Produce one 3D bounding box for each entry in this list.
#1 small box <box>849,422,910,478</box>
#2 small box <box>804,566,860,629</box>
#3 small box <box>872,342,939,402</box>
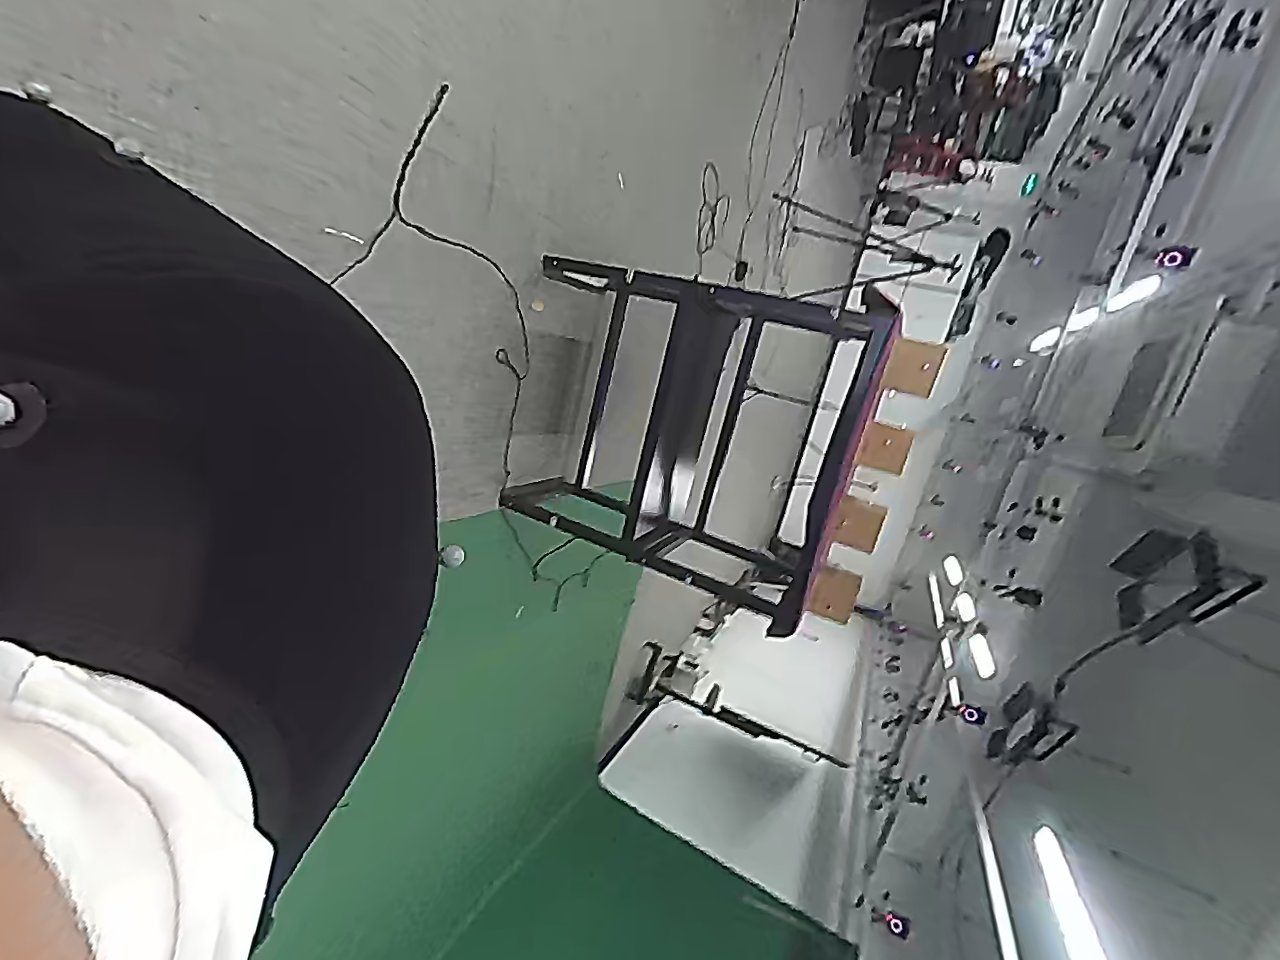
[{"bbox_3d":[0.865,-0.113,1.965,0.179,0.176,0.168,-16,121,-66],"label":"small box"},{"bbox_3d":[0.751,0.454,2.116,0.179,0.176,0.168,-14,119,-66],"label":"small box"},{"bbox_3d":[0.930,-0.382,1.907,0.168,0.176,0.179,-15,121,-65],"label":"small box"}]
